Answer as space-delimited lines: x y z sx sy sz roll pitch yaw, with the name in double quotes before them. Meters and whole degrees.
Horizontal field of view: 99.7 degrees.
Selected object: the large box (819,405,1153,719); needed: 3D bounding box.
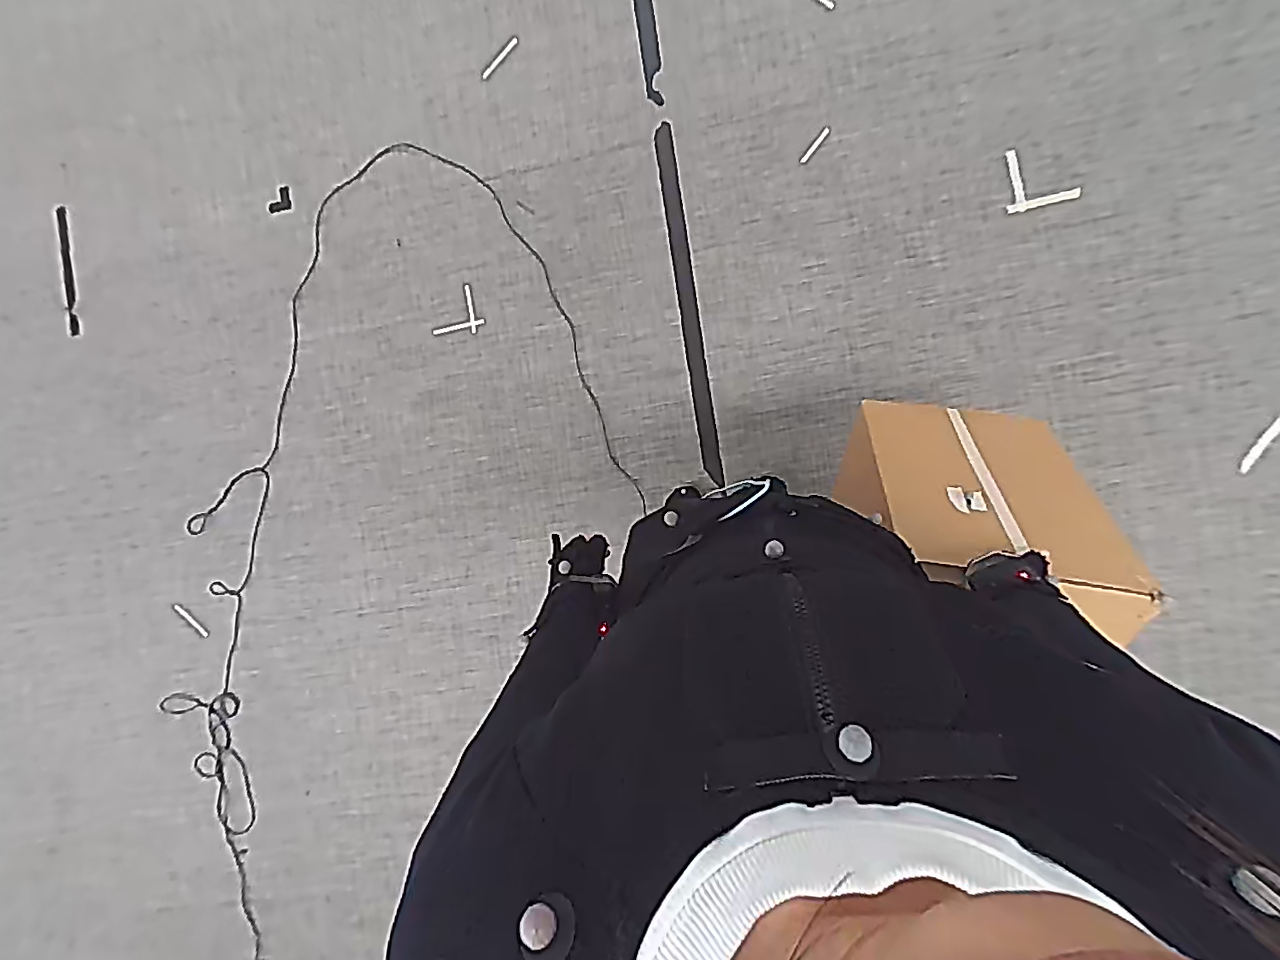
"large box" 0.508 0.121 0.921 0.320 0.408 0.320 7 131 8
